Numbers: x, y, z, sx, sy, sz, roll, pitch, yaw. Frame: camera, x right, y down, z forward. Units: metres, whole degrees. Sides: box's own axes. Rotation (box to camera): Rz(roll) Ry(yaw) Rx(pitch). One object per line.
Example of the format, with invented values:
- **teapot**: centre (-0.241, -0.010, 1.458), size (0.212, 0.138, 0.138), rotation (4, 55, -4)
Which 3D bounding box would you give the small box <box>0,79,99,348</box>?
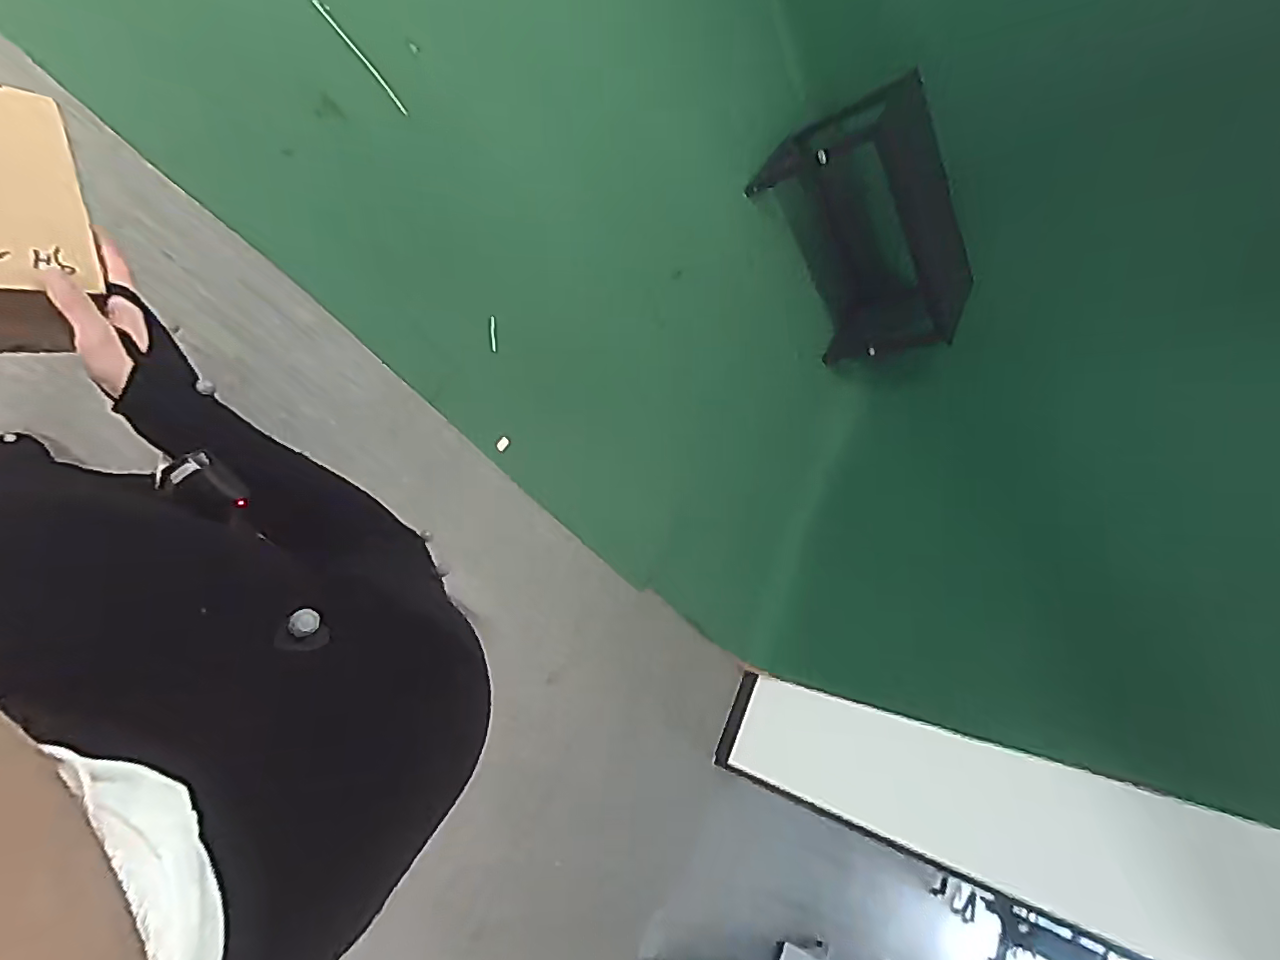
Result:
- **small box**: centre (-0.597, -0.223, 0.457), size (0.168, 0.176, 0.179), rotation (-16, 95, -48)
